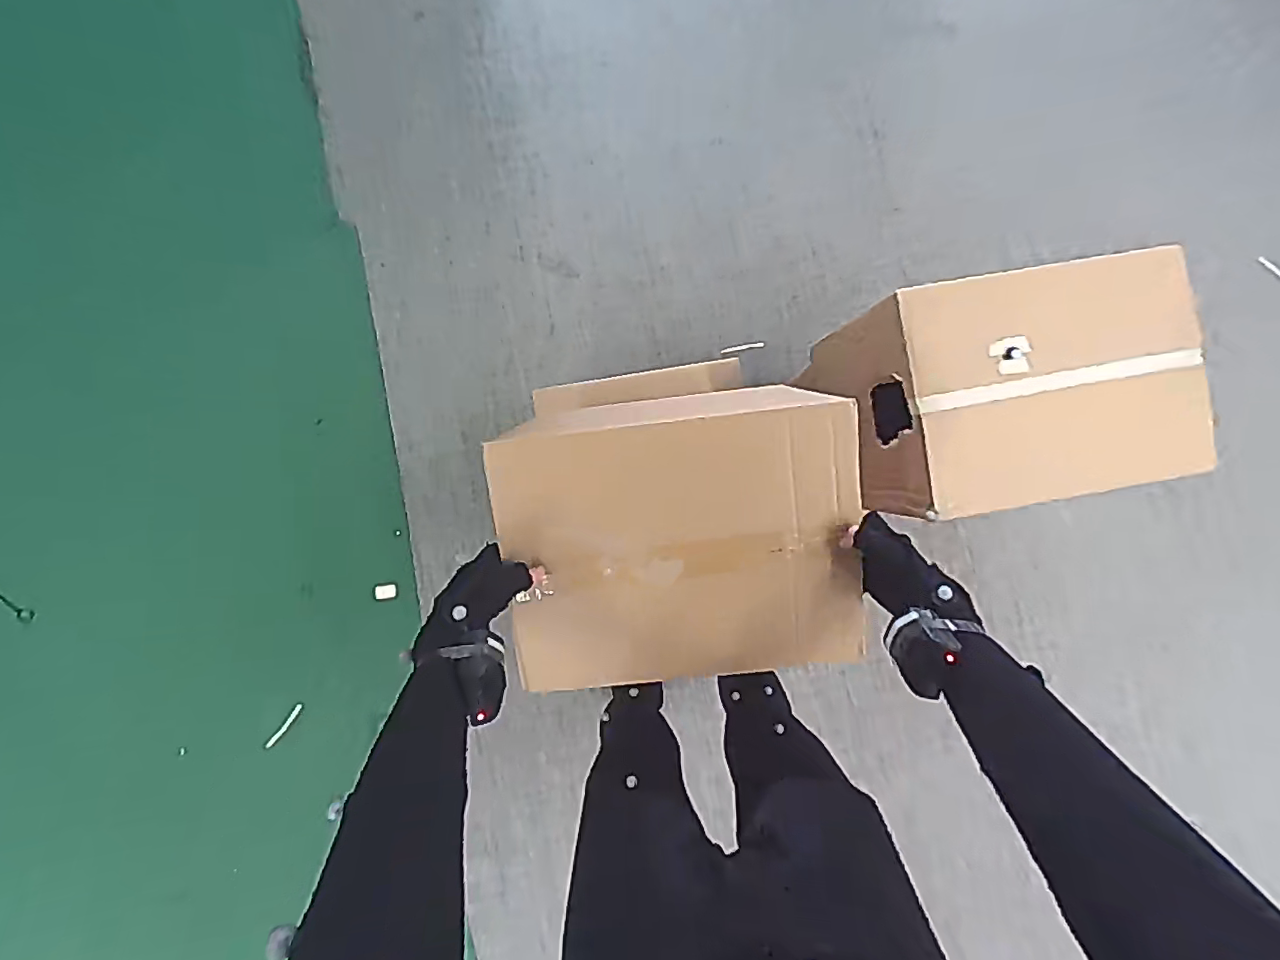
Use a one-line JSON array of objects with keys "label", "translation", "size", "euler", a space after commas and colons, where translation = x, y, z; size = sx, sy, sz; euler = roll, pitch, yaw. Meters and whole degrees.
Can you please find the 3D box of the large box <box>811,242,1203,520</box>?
[{"label": "large box", "translation": [0.541, -0.137, 0.871], "size": [0.408, 0.320, 0.320], "euler": [-10, 91, -2]}]
